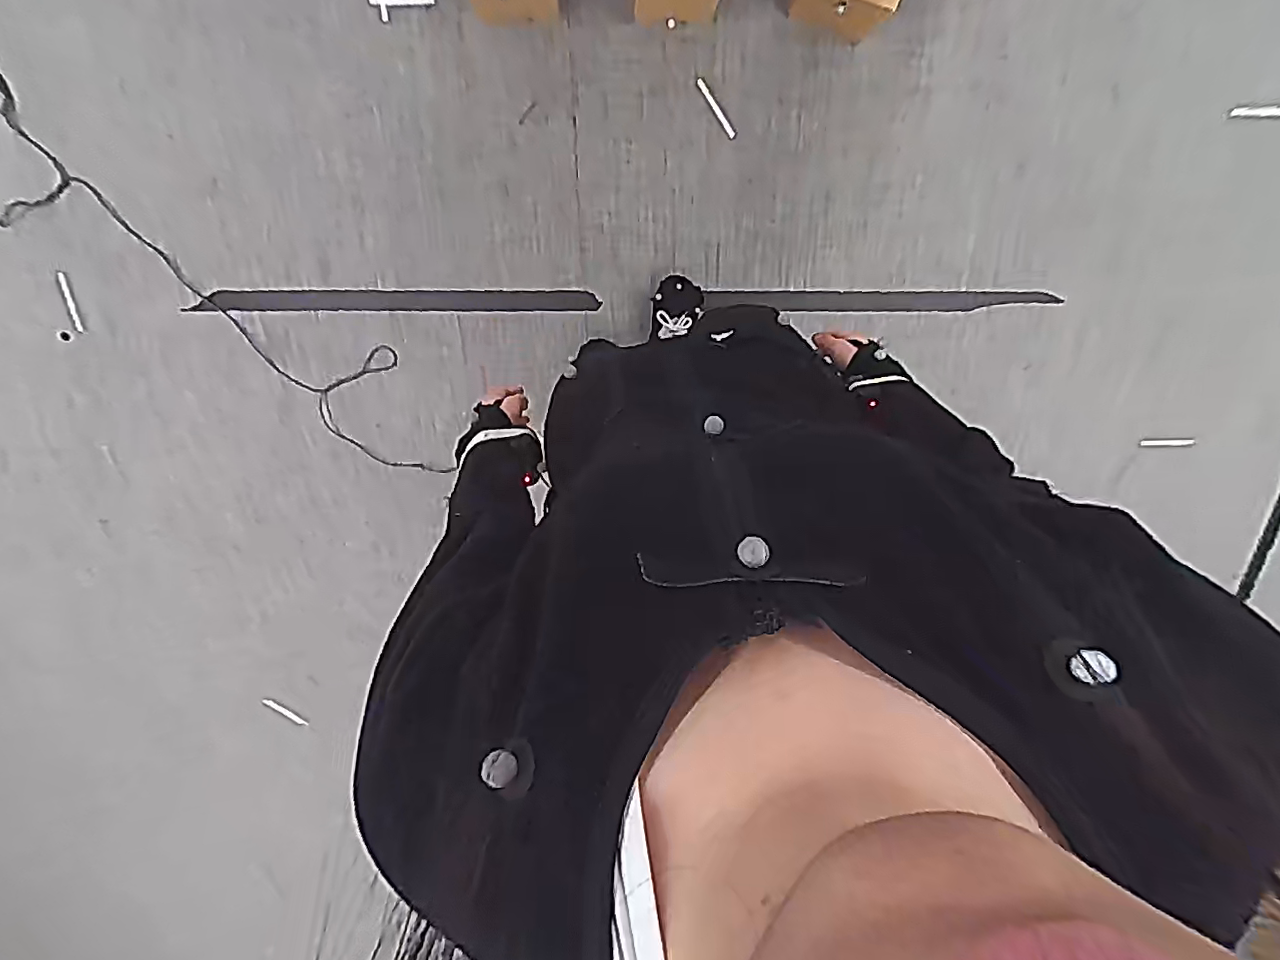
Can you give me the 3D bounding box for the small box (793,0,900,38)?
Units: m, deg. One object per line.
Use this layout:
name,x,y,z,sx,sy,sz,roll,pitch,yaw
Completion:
small box,0.429,-1.018,1.067,0.179,0.176,0.168,15,111,-6

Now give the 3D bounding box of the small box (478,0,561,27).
small box,-0.245,-1.025,1.047,0.168,0.176,0.179,1,110,-2

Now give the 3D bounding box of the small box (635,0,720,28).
small box,0.072,-1.025,1.054,0.168,0.176,0.179,-2,112,0
